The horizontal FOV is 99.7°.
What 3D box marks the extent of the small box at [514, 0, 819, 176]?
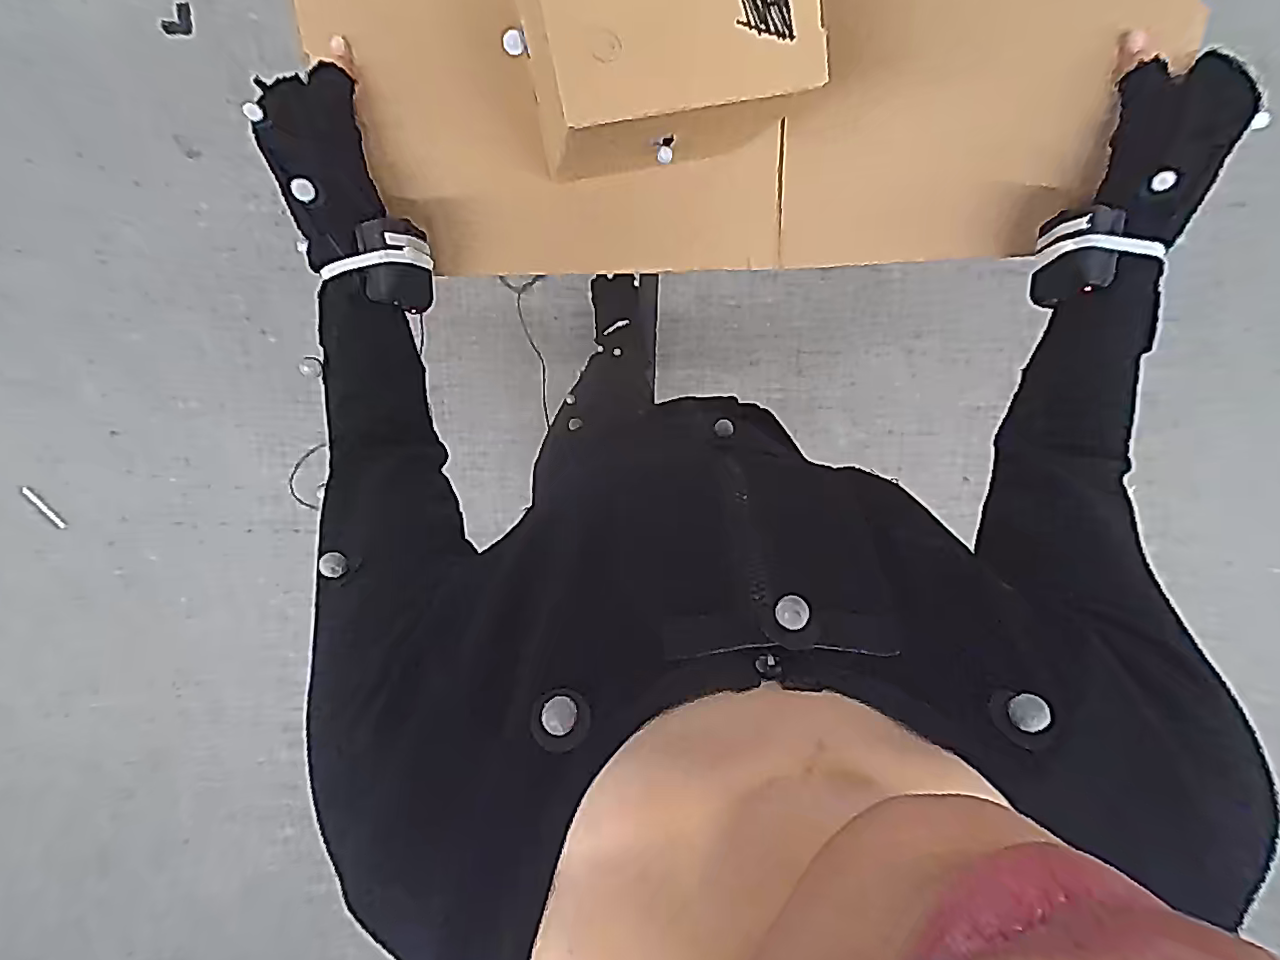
[{"bbox_3d":[0.006,-0.341,0.396,0.179,0.176,0.168,-14,110,-7],"label":"small box"}]
